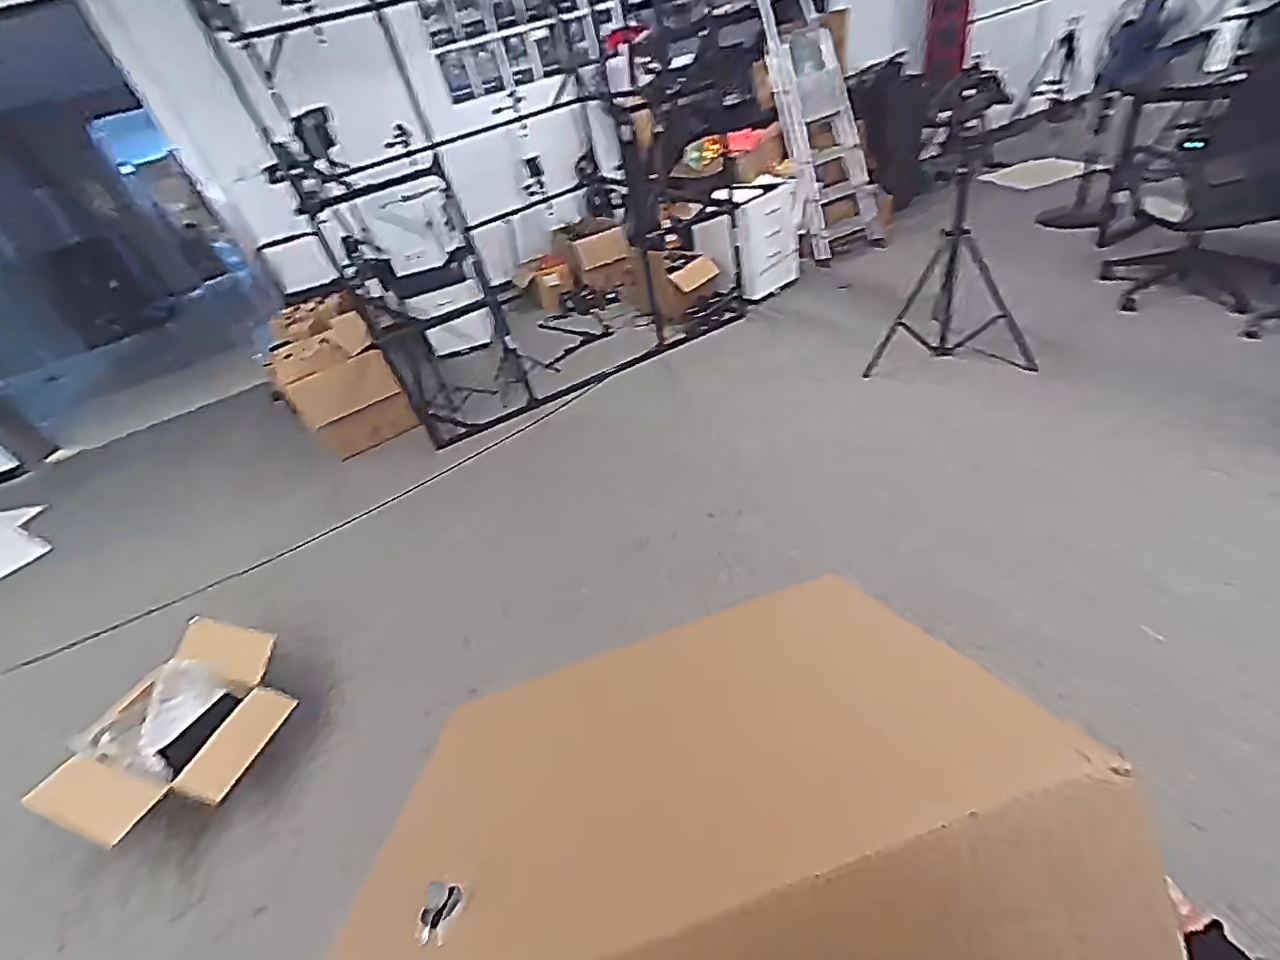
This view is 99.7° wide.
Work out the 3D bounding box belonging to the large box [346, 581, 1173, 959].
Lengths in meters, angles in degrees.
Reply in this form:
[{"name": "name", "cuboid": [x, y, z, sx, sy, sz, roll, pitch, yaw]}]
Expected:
[{"name": "large box", "cuboid": [0.071, 0.318, 0.410, 0.408, 0.320, 0.320, -19, 7, -1]}]
